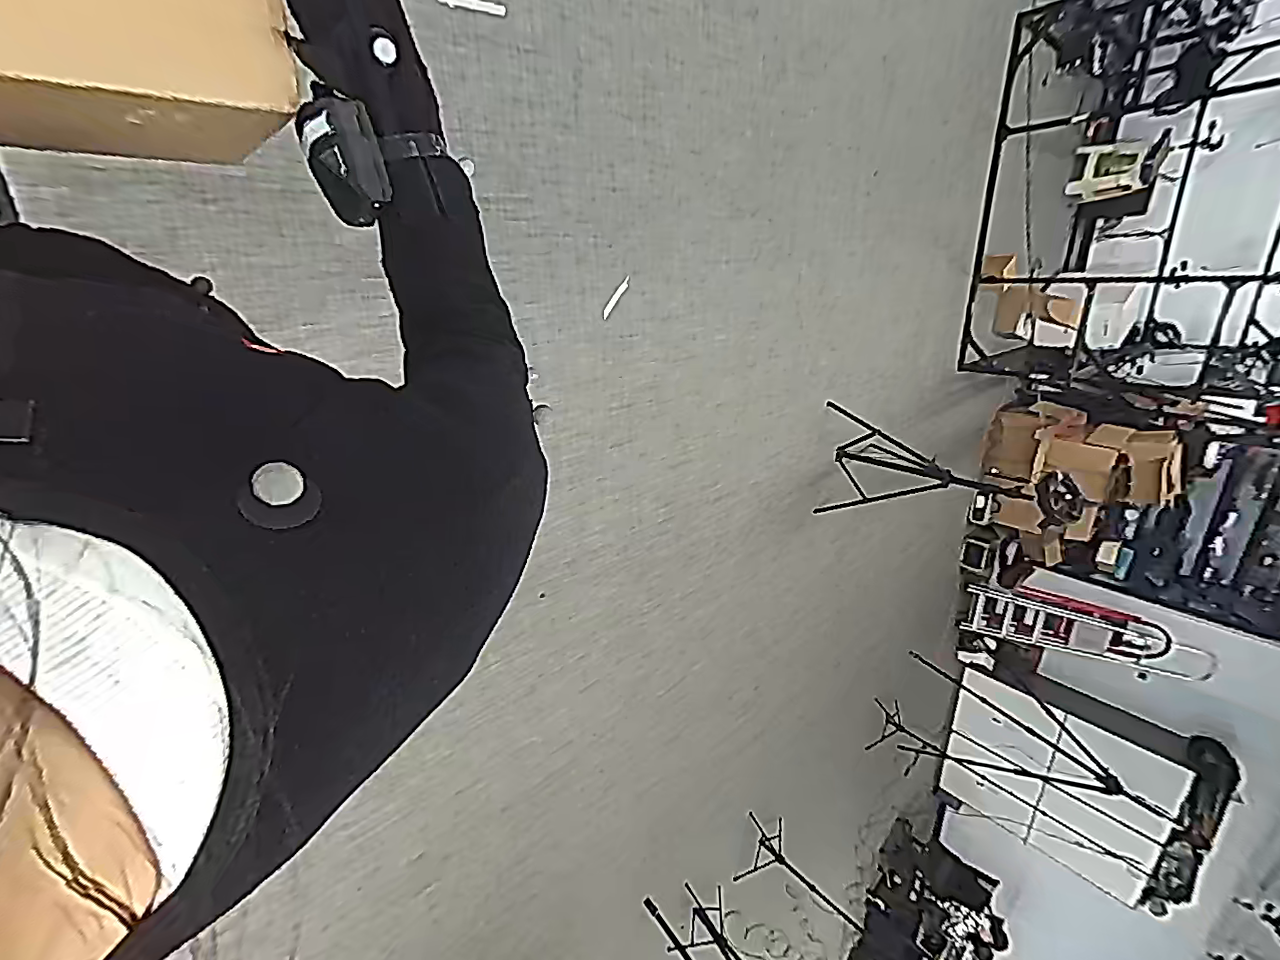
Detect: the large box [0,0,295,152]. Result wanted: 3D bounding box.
[{"bbox_3d":[-0.468,-0.372,0.269,0.408,0.320,0.320,-19,121,-37],"label":"large box"}]
